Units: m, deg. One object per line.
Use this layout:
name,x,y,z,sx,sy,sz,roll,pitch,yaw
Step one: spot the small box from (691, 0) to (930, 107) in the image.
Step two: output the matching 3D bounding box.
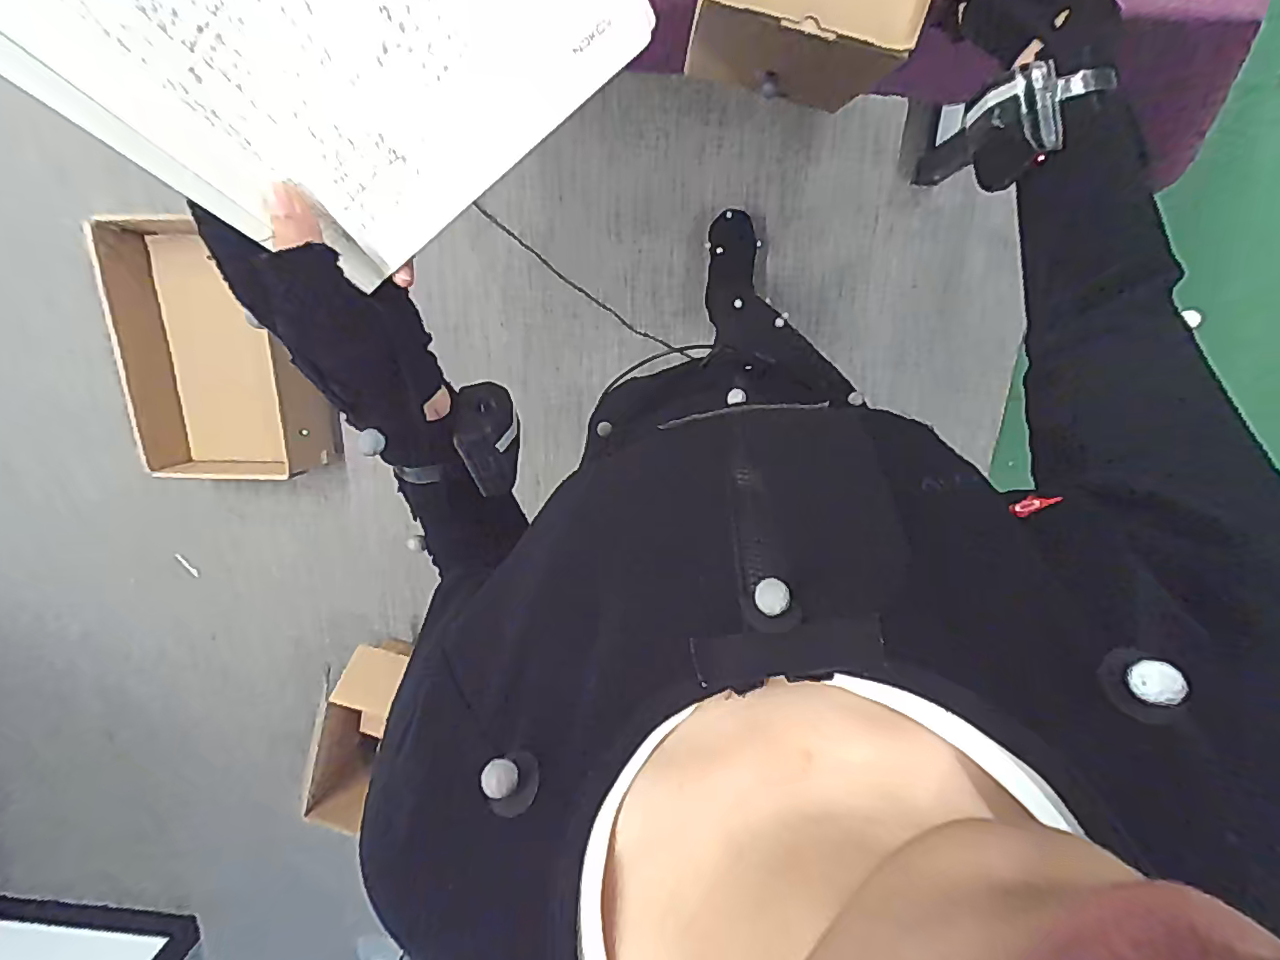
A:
small box,0.145,-0.448,0.446,0.168,0.176,0.179,12,111,-5
